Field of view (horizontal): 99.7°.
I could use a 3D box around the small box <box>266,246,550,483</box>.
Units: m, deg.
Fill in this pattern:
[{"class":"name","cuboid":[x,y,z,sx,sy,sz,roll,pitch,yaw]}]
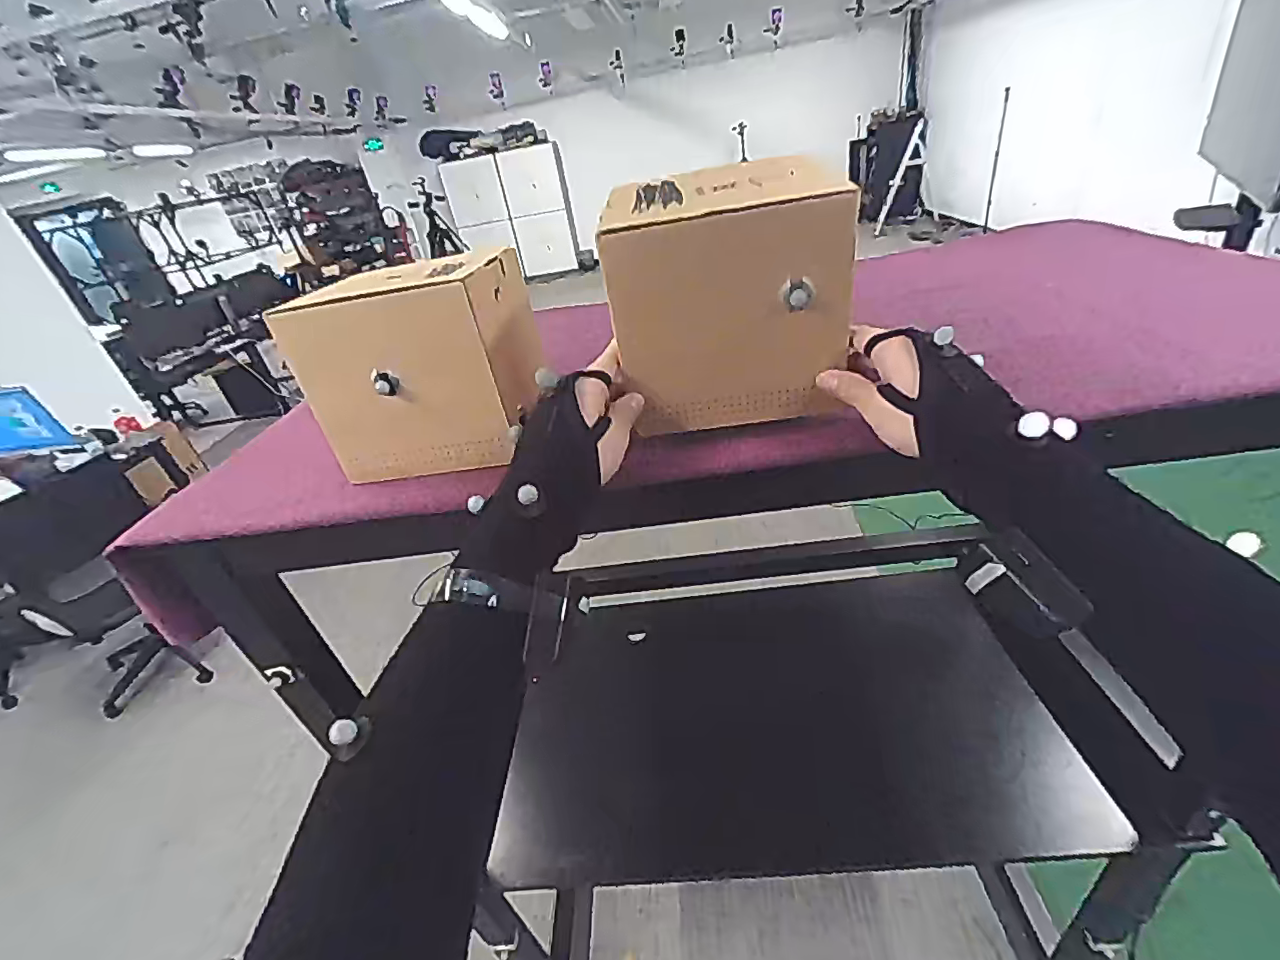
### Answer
[{"class":"small box","cuboid":[-0.201,-0.115,0.534,0.179,0.176,0.168,-7,31,8]}]
